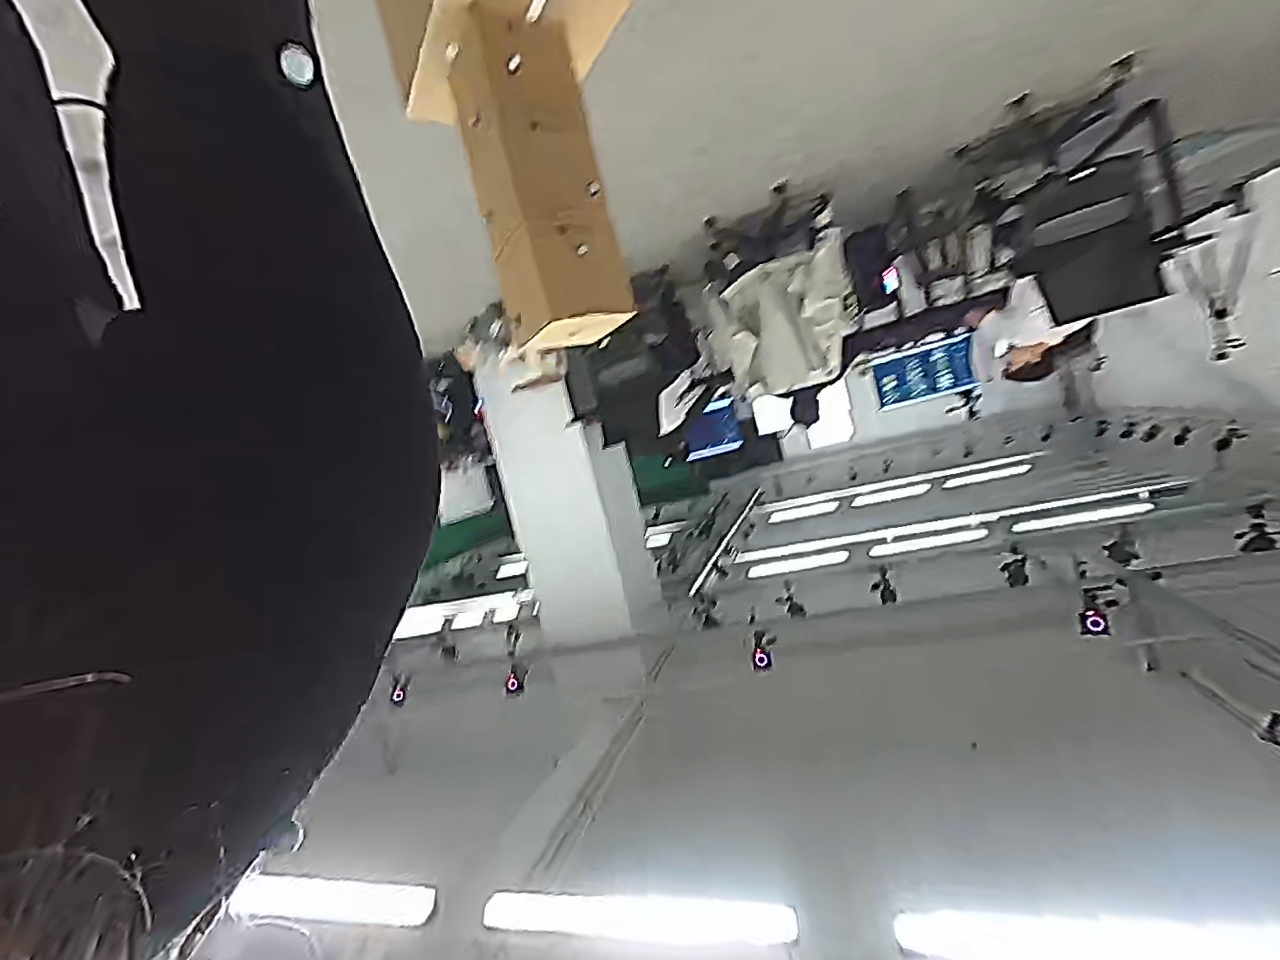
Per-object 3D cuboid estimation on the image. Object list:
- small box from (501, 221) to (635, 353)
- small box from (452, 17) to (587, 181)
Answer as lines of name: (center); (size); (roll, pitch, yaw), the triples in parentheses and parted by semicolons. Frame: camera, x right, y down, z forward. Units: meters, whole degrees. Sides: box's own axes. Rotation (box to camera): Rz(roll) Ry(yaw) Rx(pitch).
small box: (-0.136, -0.341, 0.971); (0.168, 0.176, 0.179); (-17, -176, -31)
small box: (-0.218, -0.660, 0.954); (0.168, 0.176, 0.179); (-16, -176, -30)
